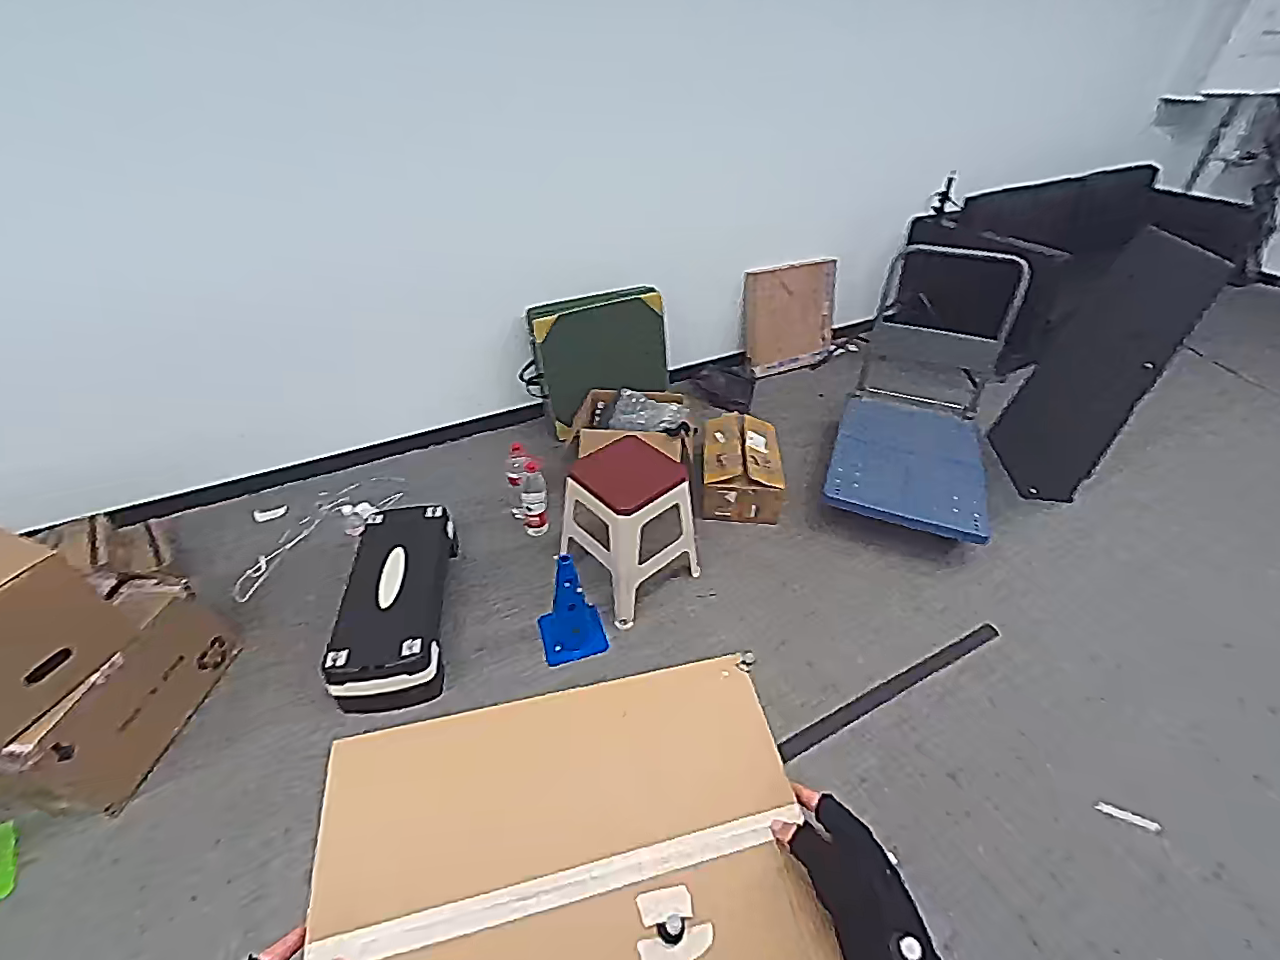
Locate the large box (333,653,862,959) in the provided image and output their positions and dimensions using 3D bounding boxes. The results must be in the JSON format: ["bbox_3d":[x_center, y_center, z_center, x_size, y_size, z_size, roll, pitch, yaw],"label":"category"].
[{"bbox_3d":[-0.053,0.427,0.563,0.408,0.320,0.320,-7,49,-11],"label":"large box"}]
